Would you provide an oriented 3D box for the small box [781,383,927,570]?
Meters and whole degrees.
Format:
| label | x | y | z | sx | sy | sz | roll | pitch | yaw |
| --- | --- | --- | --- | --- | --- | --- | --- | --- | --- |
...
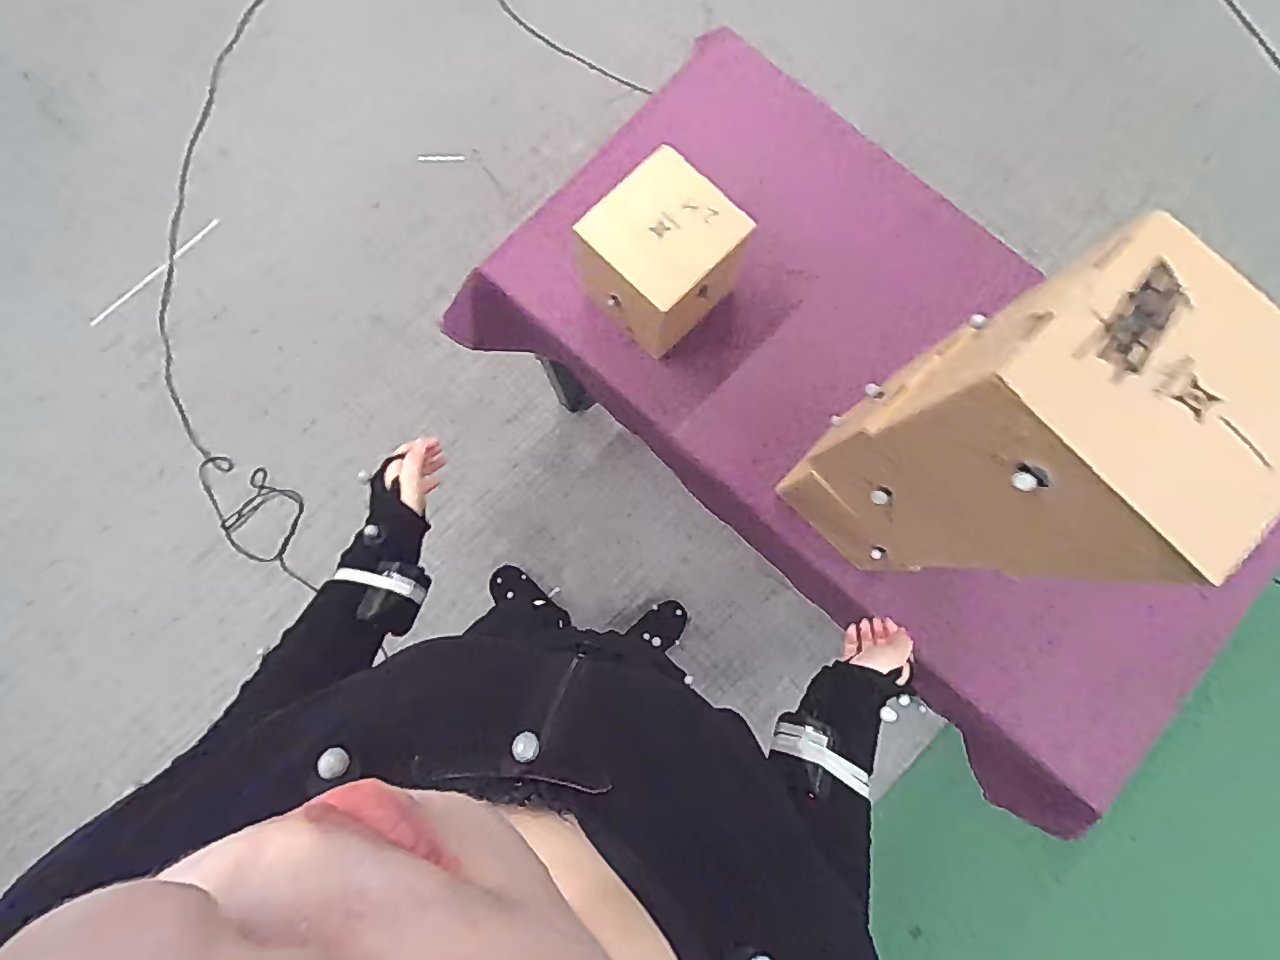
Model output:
| label | x | y | z | sx | sy | sz | roll | pitch | yaw |
| --- | --- | --- | --- | --- | --- | --- | --- | --- | --- |
| small box | 0.321 | 0.006 | 0.731 | 0.179 | 0.176 | 0.168 | 44 | 84 | 5 |

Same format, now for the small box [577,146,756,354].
| label | x | y | z | sx | sy | sz | roll | pitch | yaw |
| --- | --- | --- | --- | --- | --- | --- | --- | --- | --- |
| small box | 0.034 | -0.311 | 0.770 | 0.179 | 0.176 | 0.168 | -44 | 85 | -6 |

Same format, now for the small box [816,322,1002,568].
| label | x | y | z | sx | sy | sz | roll | pitch | yaw |
| --- | --- | --- | --- | --- | --- | --- | --- | --- | --- |
| small box | 0.319 | -0.023 | 0.569 | 0.168 | 0.176 | 0.179 | -42 | 84 | -6 |

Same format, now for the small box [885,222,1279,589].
| label | x | y | z | sx | sy | sz | roll | pitch | yaw |
| --- | --- | --- | --- | --- | --- | --- | --- | --- | --- |
| small box | 0.327 | -0.038 | 0.405 | 0.168 | 0.176 | 0.179 | -42 | 85 | -6 |
